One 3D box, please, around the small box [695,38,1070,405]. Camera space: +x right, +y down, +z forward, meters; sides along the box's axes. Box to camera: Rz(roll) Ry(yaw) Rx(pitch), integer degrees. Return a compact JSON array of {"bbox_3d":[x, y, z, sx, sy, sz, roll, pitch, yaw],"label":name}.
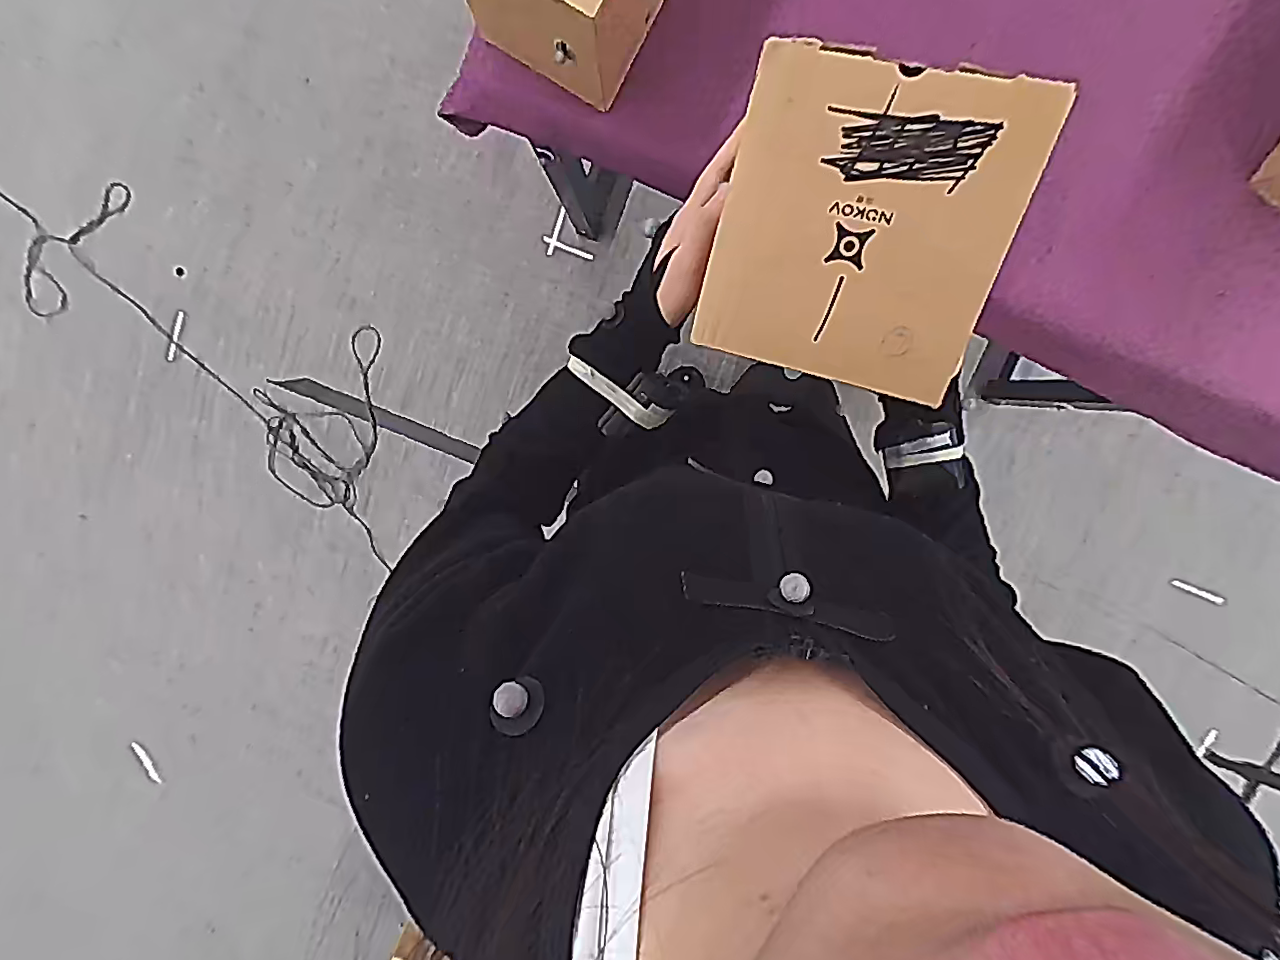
[{"bbox_3d":[0.151,-0.173,0.399,0.168,0.176,0.179,18,111,10],"label":"small box"}]
